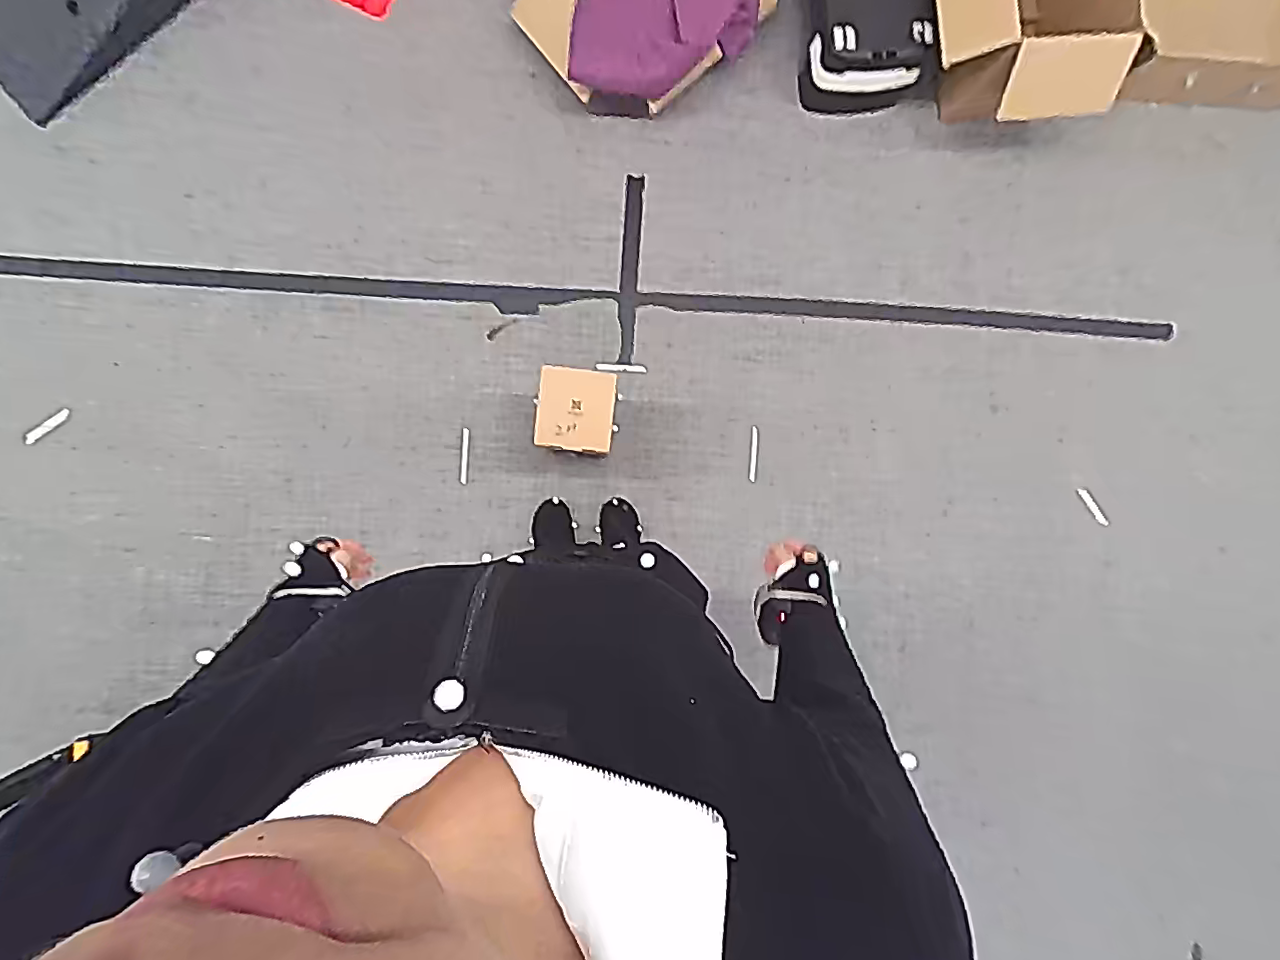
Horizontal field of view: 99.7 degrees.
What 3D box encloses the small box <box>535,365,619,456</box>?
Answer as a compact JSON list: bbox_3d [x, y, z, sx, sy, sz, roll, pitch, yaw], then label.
[{"bbox_3d":[-0.143,-0.154,1.249,0.168,0.176,0.179,7,91,-3],"label":"small box"}]
